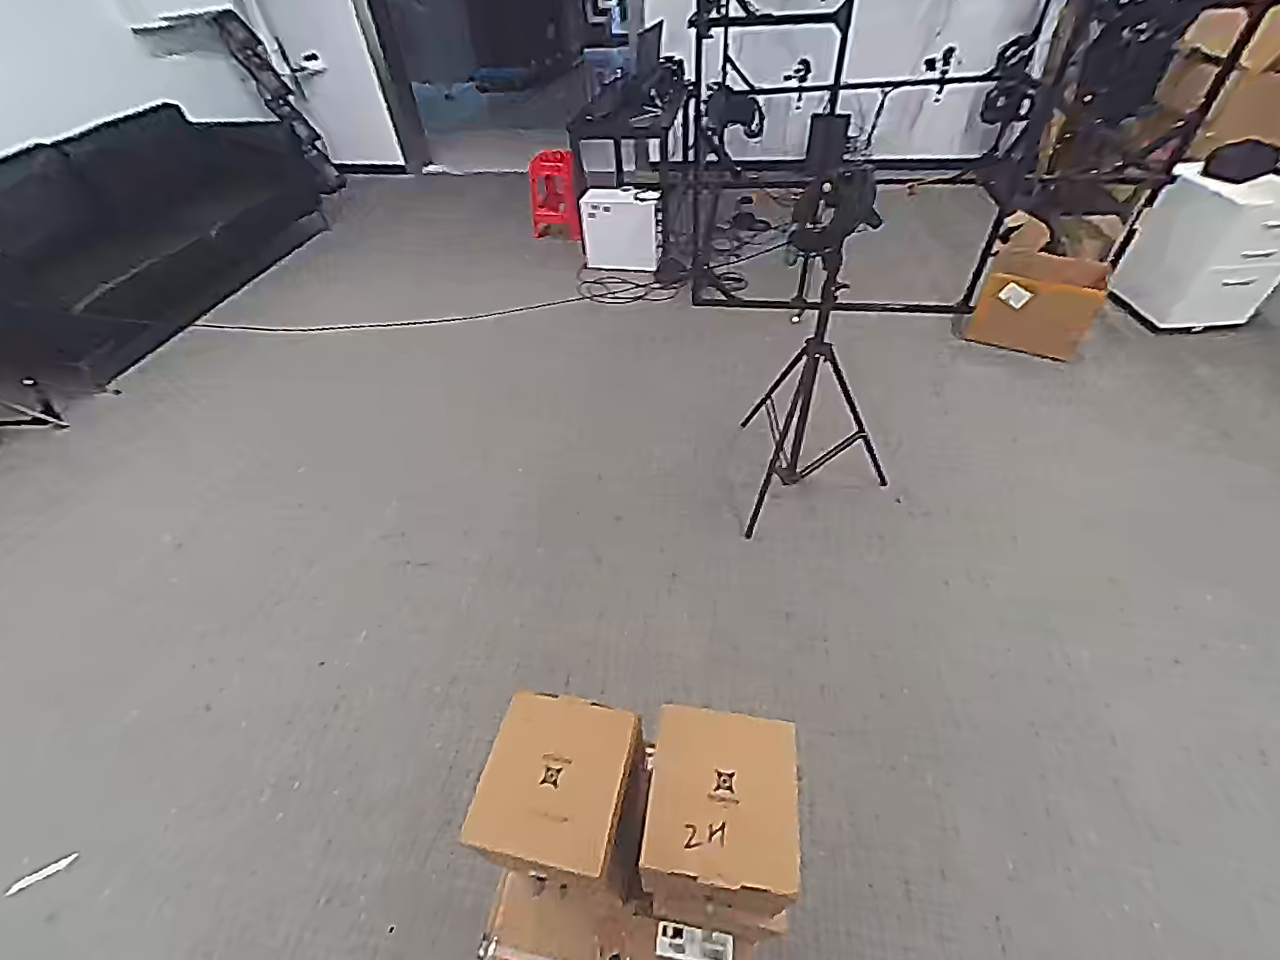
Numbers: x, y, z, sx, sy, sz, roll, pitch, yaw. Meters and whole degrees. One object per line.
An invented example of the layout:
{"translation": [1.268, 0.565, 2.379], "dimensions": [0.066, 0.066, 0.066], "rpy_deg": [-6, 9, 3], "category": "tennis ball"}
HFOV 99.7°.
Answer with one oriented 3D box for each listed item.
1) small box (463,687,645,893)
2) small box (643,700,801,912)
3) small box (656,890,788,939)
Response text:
{"translation": [-0.091, 0.393, 0.687], "dimensions": [0.168, 0.176, 0.179], "rpy_deg": [4, 48, 13], "category": "small box"}
{"translation": [0.097, 0.400, 0.666], "dimensions": [0.168, 0.176, 0.179], "rpy_deg": [5, 47, 8], "category": "small box"}
{"translation": [0.117, 0.524, 0.774], "dimensions": [0.168, 0.176, 0.179], "rpy_deg": [7, 48, 9], "category": "small box"}
